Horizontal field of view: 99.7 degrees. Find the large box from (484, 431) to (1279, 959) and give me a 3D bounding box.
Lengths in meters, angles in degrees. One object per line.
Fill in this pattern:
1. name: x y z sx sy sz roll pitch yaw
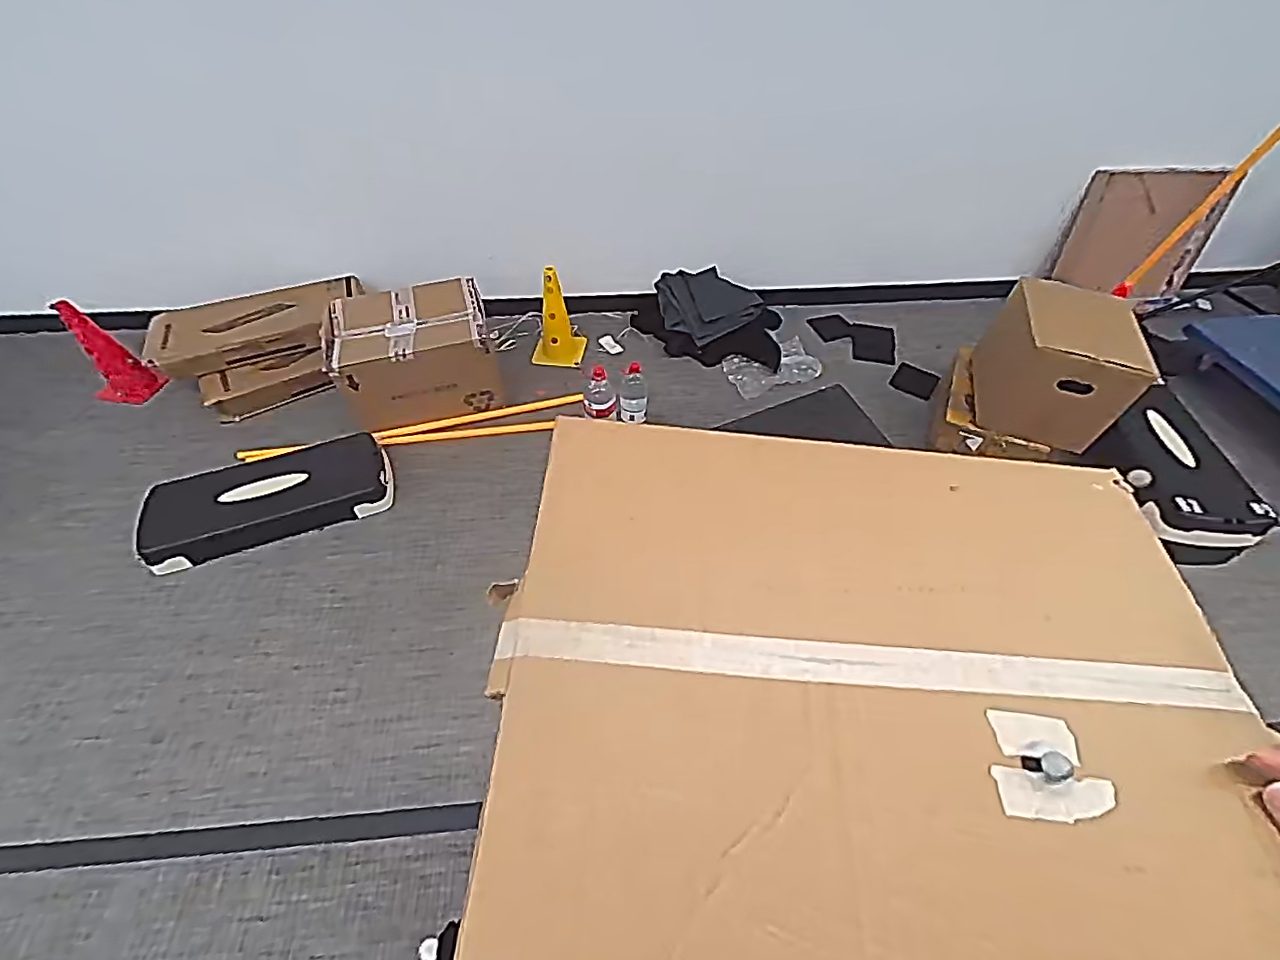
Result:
1. large box: 0.120 0.191 0.427 0.408 0.320 0.320 6 56 -3
